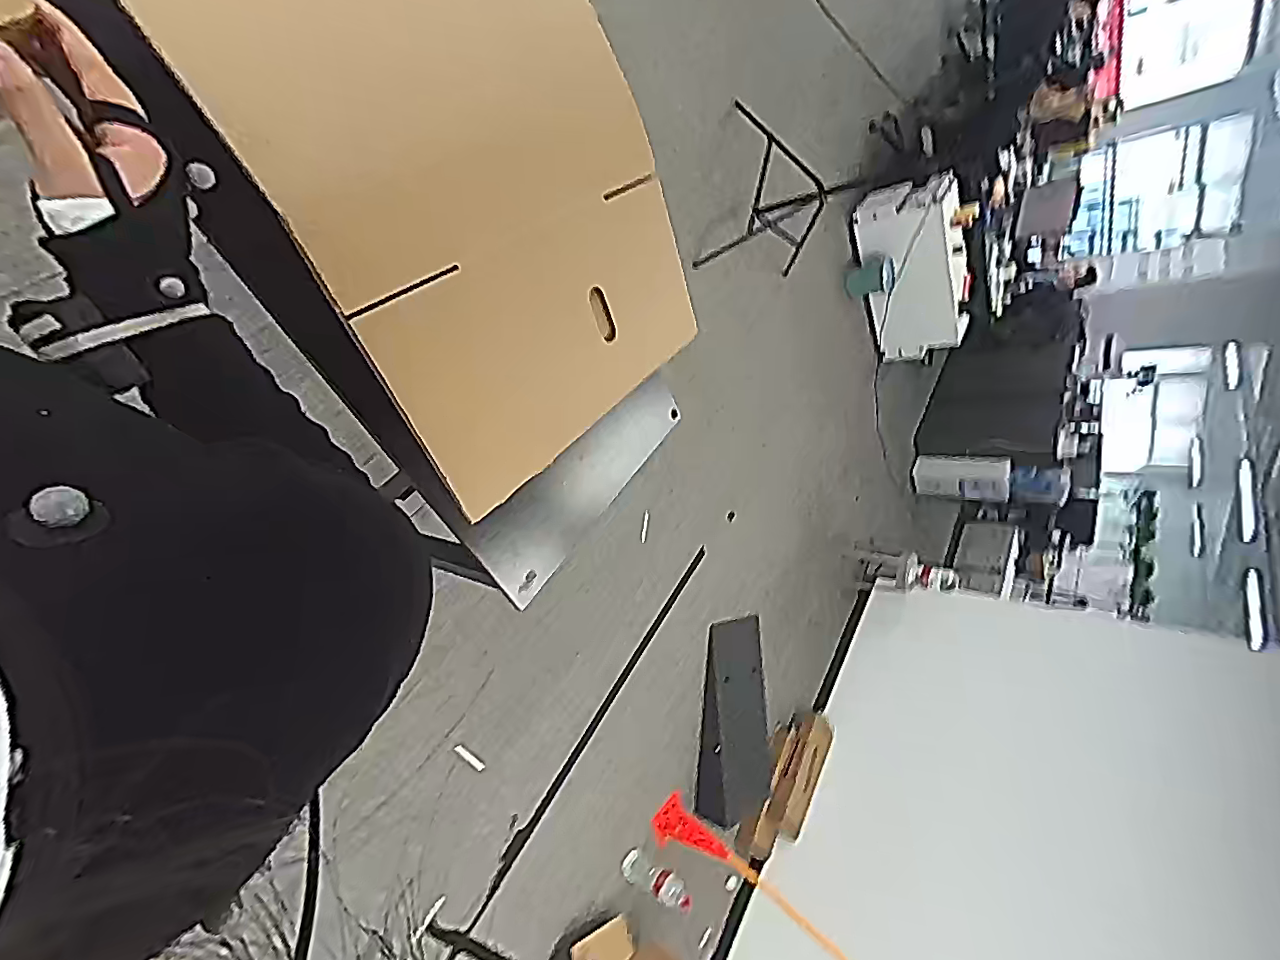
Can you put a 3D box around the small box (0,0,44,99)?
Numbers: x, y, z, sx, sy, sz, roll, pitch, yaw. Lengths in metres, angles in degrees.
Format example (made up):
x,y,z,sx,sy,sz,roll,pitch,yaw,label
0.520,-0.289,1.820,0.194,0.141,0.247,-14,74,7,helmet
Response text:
x,y,z,sx,sy,sz,roll,pitch,yaw,label
-0.454,-0.245,0.245,0.168,0.176,0.179,54,51,-39,small box
